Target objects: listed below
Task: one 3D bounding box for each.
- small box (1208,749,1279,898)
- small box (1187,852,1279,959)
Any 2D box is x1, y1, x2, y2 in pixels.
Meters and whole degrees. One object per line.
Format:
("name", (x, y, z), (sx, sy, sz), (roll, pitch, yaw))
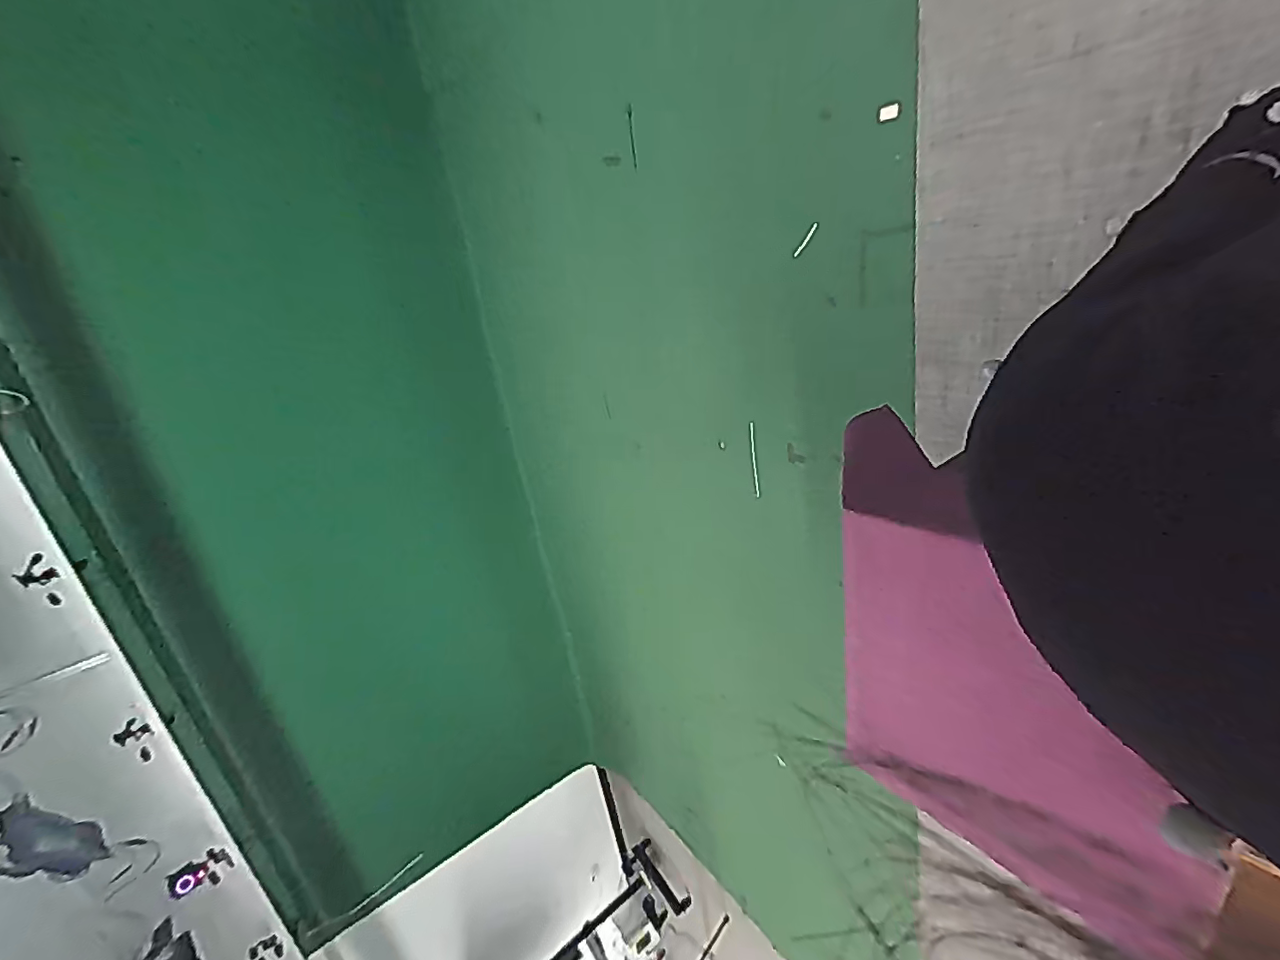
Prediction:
("small box", (0.694, 0.411, 0.528), (0.168, 0.176, 0.179), (21, 126, 51))
("small box", (0.565, 0.471, 0.446), (0.168, 0.176, 0.179), (20, 125, 51))
